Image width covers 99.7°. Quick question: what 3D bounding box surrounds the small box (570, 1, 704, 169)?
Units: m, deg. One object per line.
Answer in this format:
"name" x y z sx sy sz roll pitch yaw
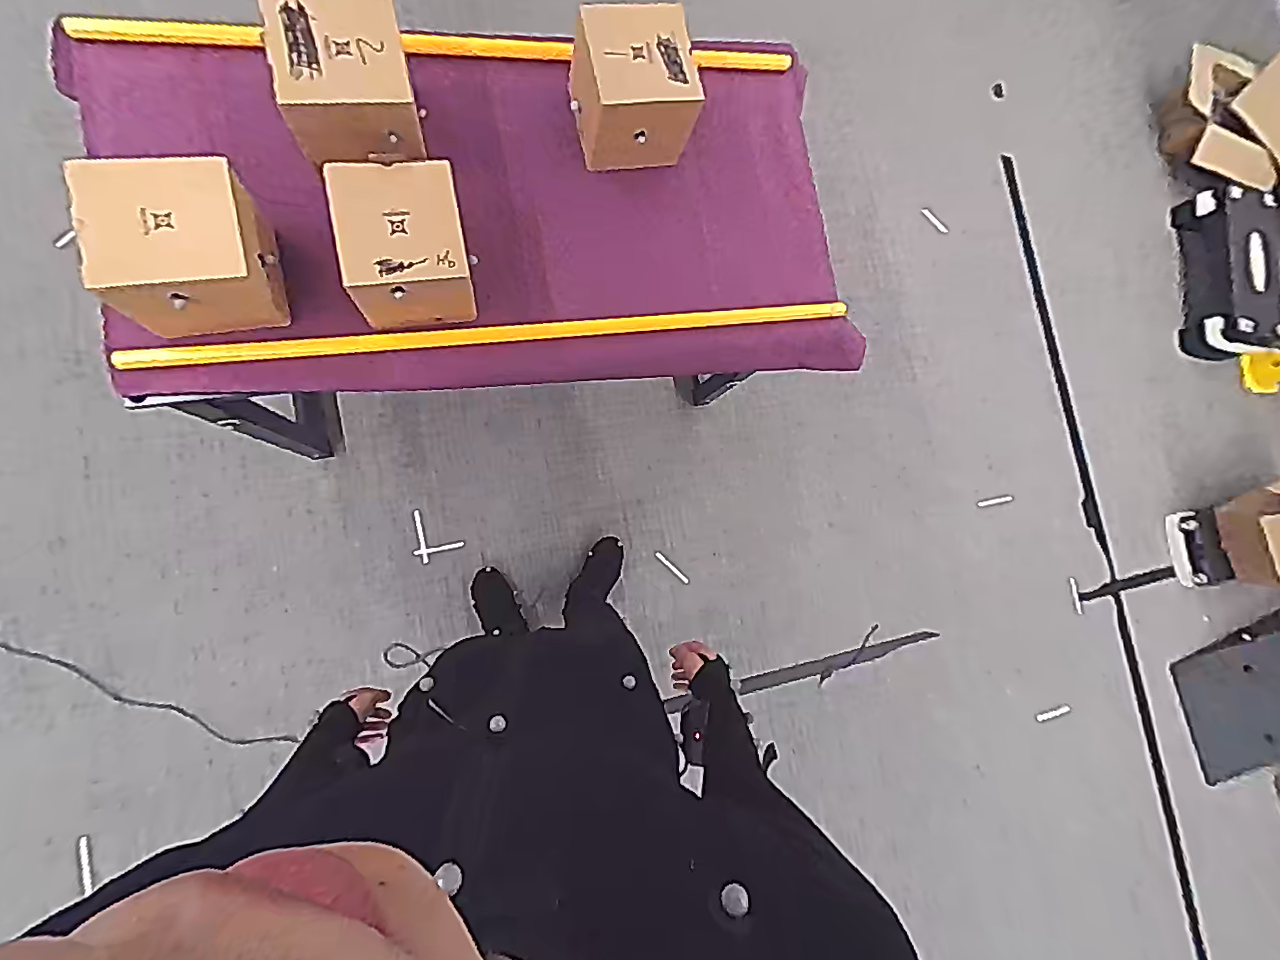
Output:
"small box" -0.013 -0.664 0.924 0.179 0.176 0.168 -13 89 -13

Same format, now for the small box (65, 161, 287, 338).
"small box" -0.619 -0.311 0.750 0.179 0.176 0.168 -11 87 -14

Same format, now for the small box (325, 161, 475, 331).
"small box" -0.350 -0.345 0.816 0.168 0.176 0.179 -10 87 -13
